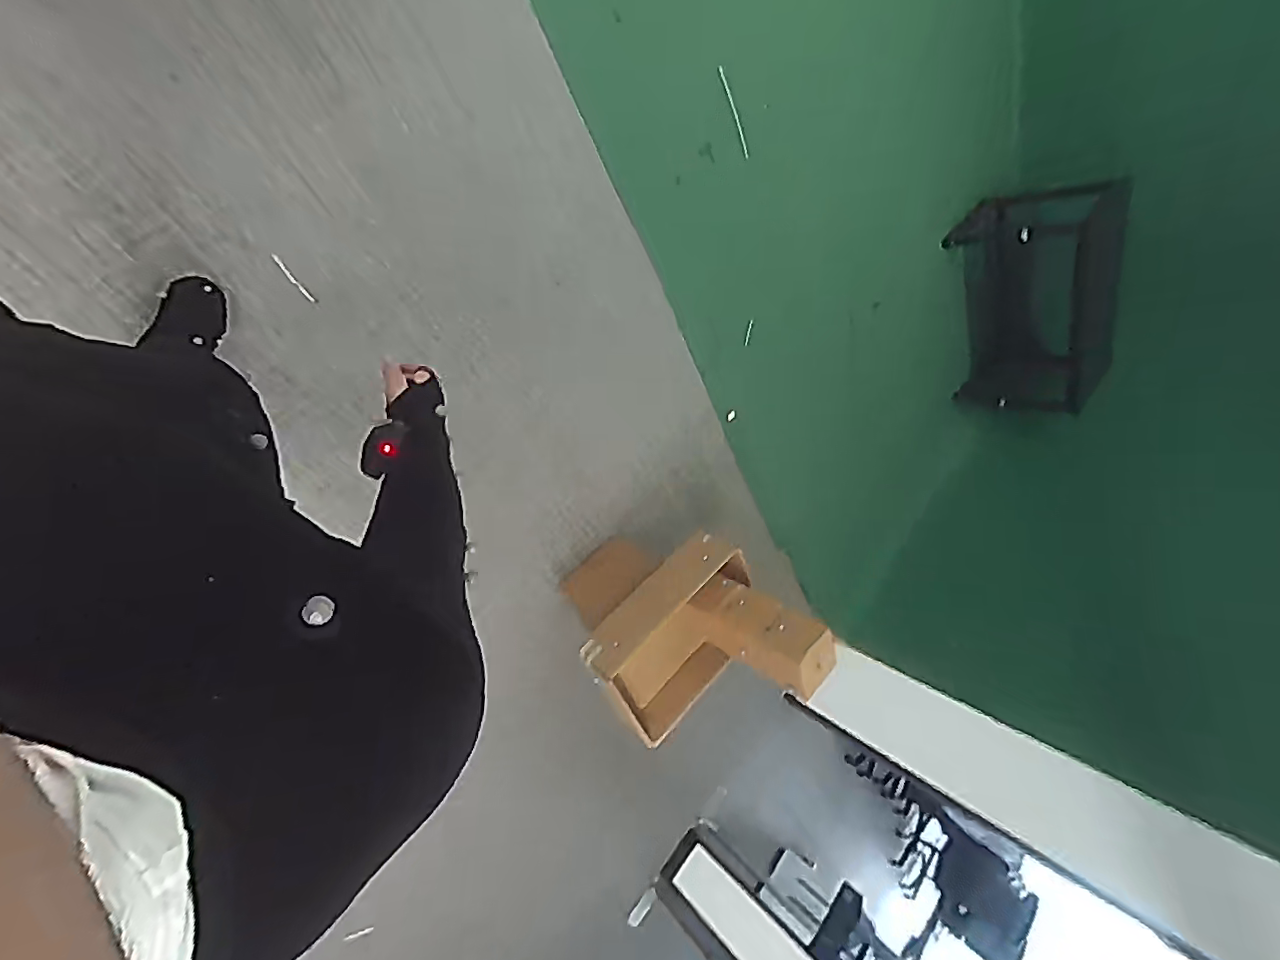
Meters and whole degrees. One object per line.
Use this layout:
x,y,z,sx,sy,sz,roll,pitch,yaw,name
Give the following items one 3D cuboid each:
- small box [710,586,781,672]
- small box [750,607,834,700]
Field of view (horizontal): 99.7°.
0.356,0.479,1.765,0.168,0.176,0.179,-38,125,-25,small box
0.461,0.521,1.645,0.168,0.176,0.179,-38,125,-26,small box
